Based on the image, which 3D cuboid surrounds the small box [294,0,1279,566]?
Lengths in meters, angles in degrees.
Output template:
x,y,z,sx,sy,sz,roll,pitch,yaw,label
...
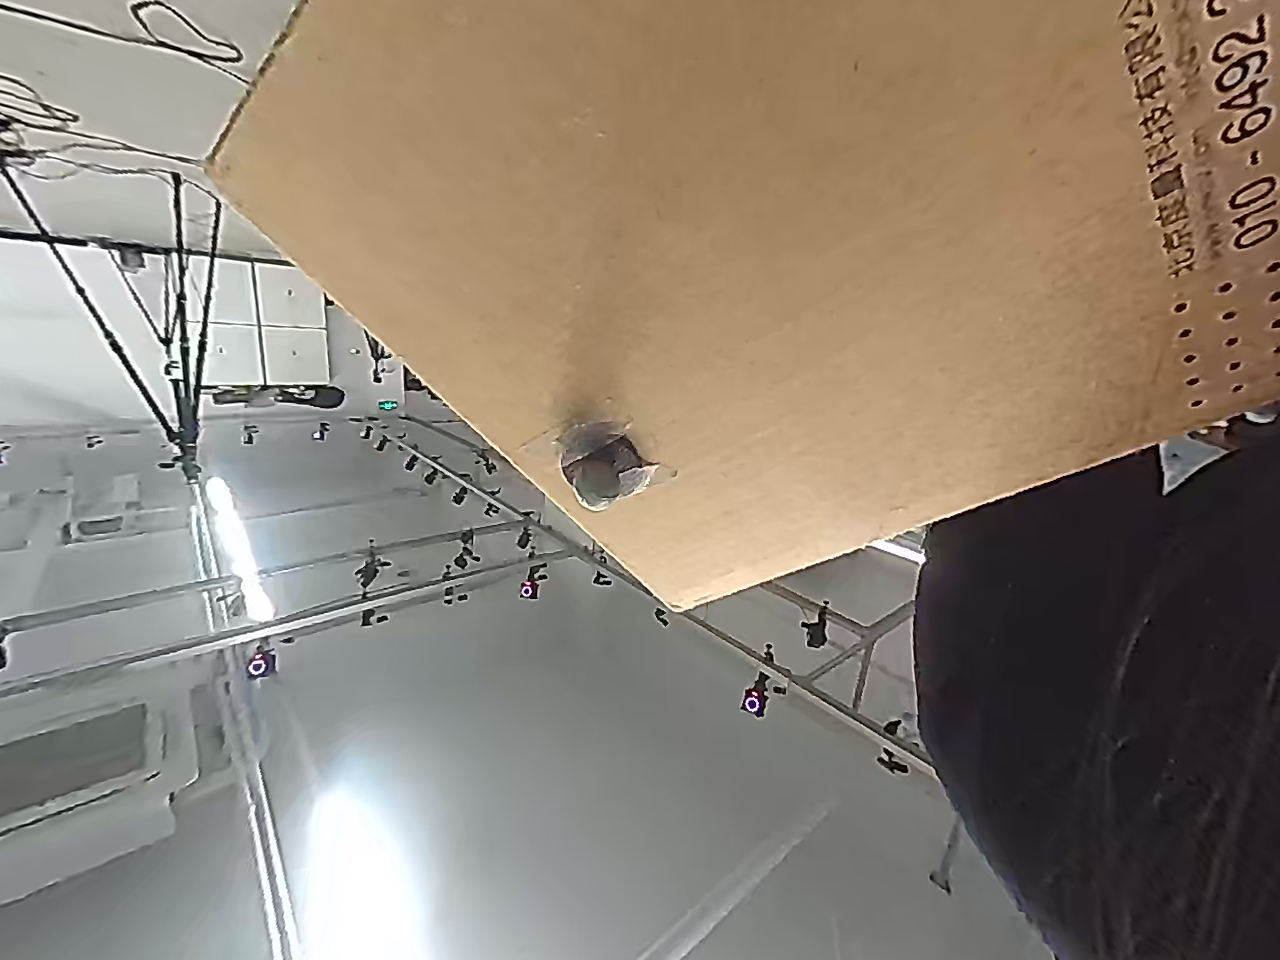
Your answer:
x,y,z,sx,sy,sz,roll,pitch,yaw,label
0.048,-0.106,0.177,0.176,0.168,0.179,-27,-148,28,small box
